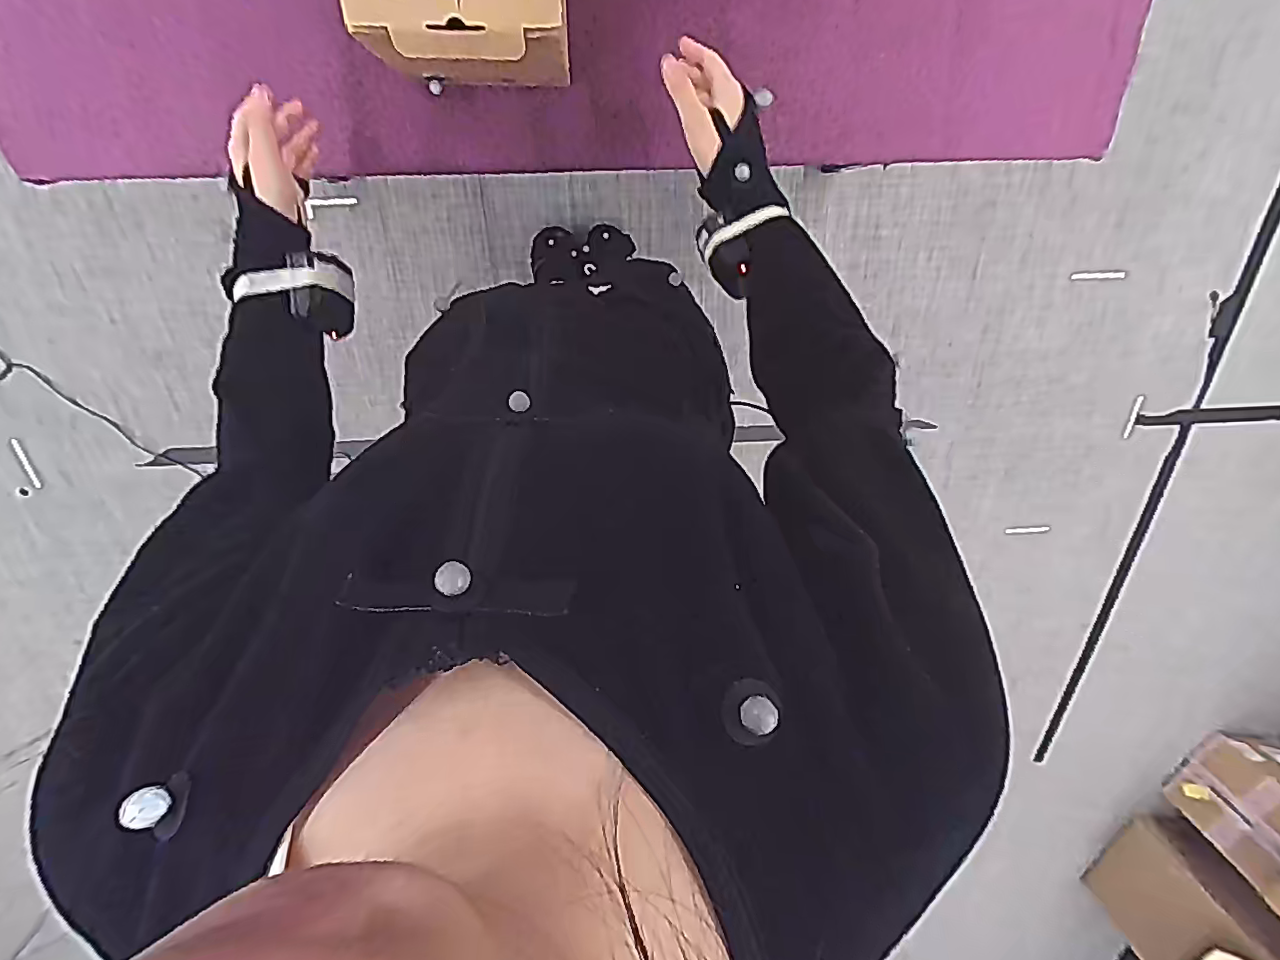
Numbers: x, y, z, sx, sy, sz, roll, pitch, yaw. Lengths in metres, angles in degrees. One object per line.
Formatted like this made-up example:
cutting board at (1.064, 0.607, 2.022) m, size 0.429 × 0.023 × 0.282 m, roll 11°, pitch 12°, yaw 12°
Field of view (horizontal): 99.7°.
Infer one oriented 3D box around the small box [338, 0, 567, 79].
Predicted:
small box at (-0.150, -0.458, 0.451) m, size 0.168 × 0.176 × 0.179 m, roll -2°, pitch 114°, yaw -4°
